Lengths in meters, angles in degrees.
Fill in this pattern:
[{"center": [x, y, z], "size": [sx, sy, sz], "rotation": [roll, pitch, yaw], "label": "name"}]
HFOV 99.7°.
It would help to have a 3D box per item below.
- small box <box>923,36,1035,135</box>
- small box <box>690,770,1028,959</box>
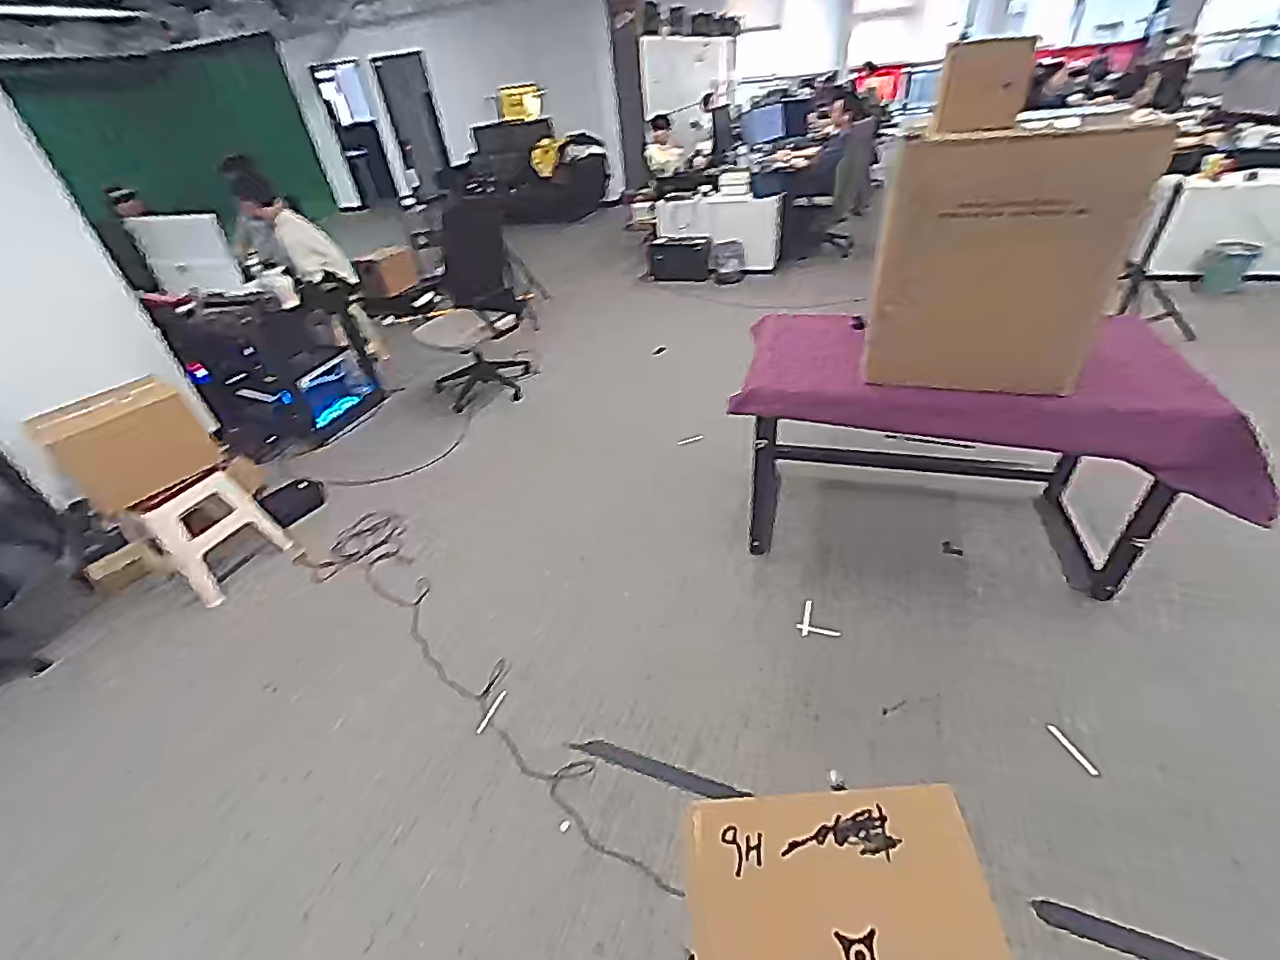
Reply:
[{"center": [0.783, -0.925, 1.269], "size": [0.179, 0.176, 0.168], "rotation": [7, 39, 18], "label": "small box"}, {"center": [0.125, 0.300, 0.353], "size": [0.168, 0.176, 0.179], "rotation": [-3, 55, -1], "label": "small box"}]
